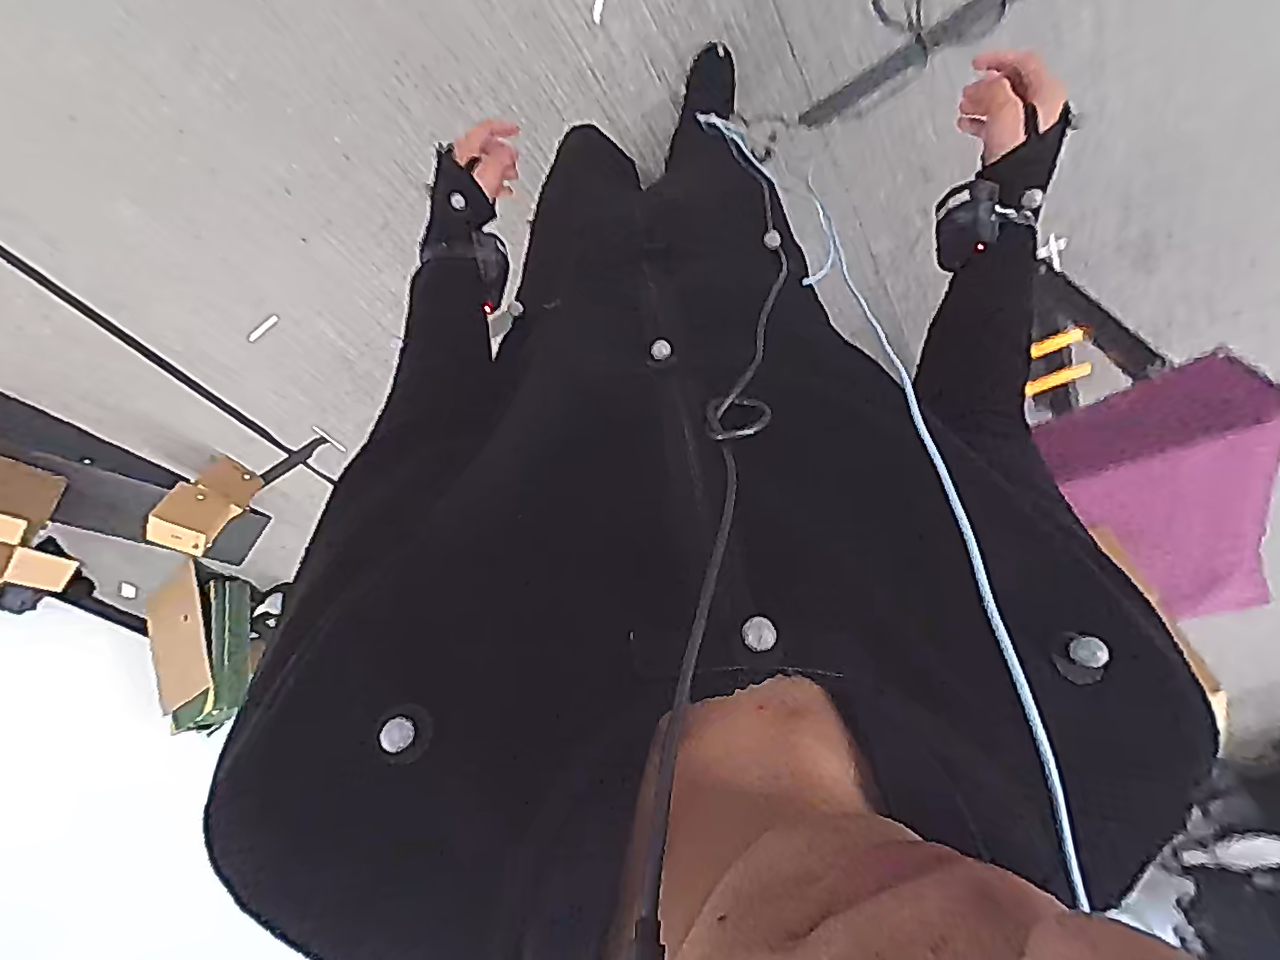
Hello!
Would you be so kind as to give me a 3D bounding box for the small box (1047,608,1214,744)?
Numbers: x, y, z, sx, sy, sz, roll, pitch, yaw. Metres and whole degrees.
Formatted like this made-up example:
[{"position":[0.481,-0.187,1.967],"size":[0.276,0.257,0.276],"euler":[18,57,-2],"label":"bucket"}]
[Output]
[{"position":[0.874,0.348,0.976],"size":[0.168,0.176,0.179],"euler":[-25,128,26],"label":"small box"}]
